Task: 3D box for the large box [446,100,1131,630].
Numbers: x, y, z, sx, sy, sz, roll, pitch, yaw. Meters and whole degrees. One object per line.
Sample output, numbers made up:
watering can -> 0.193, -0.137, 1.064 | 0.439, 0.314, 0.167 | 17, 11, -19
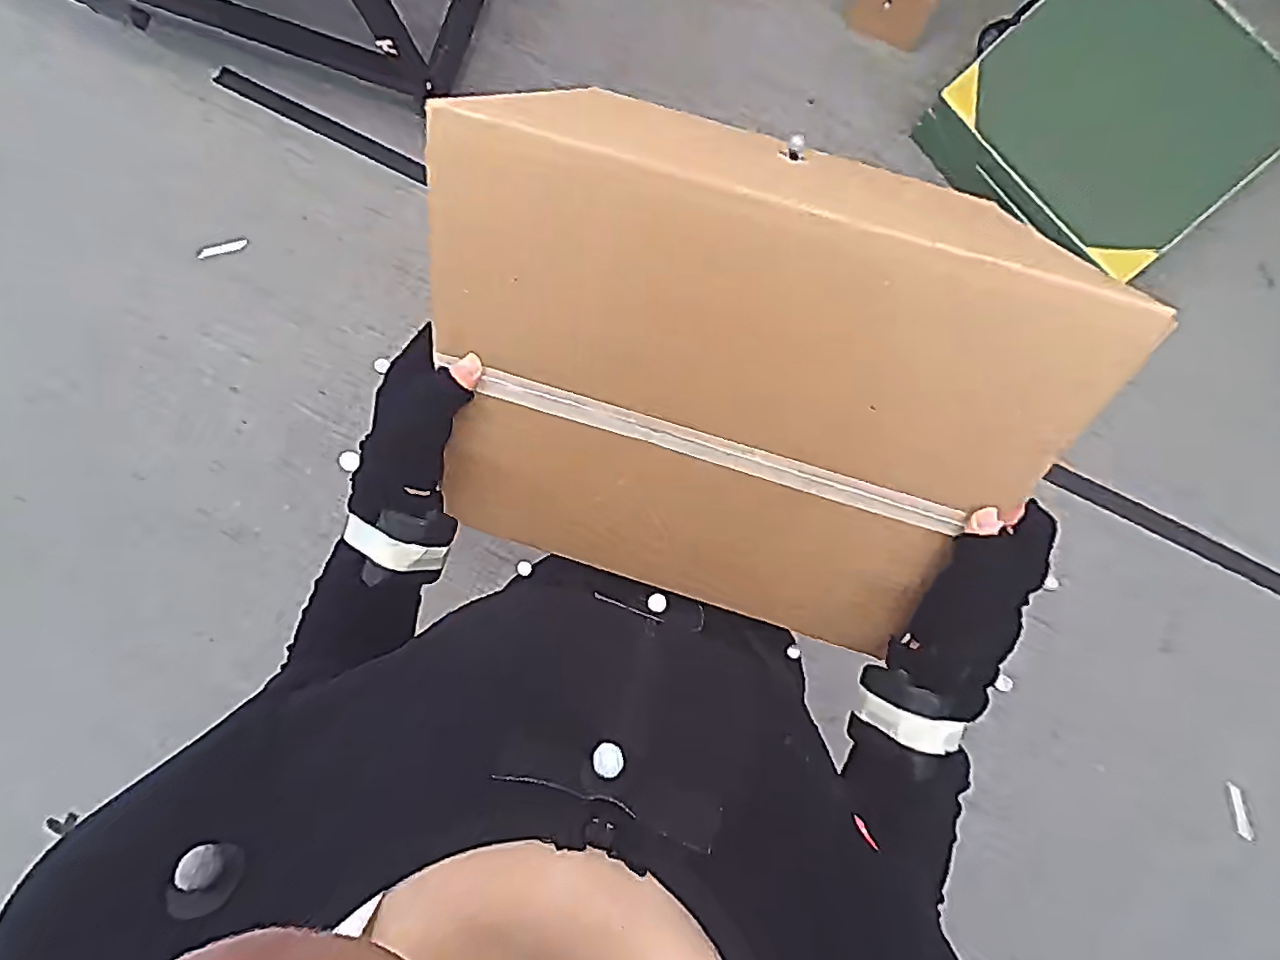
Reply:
large box -> 0.083, -0.122, 0.509 | 0.408, 0.320, 0.320 | 17, 128, 3
